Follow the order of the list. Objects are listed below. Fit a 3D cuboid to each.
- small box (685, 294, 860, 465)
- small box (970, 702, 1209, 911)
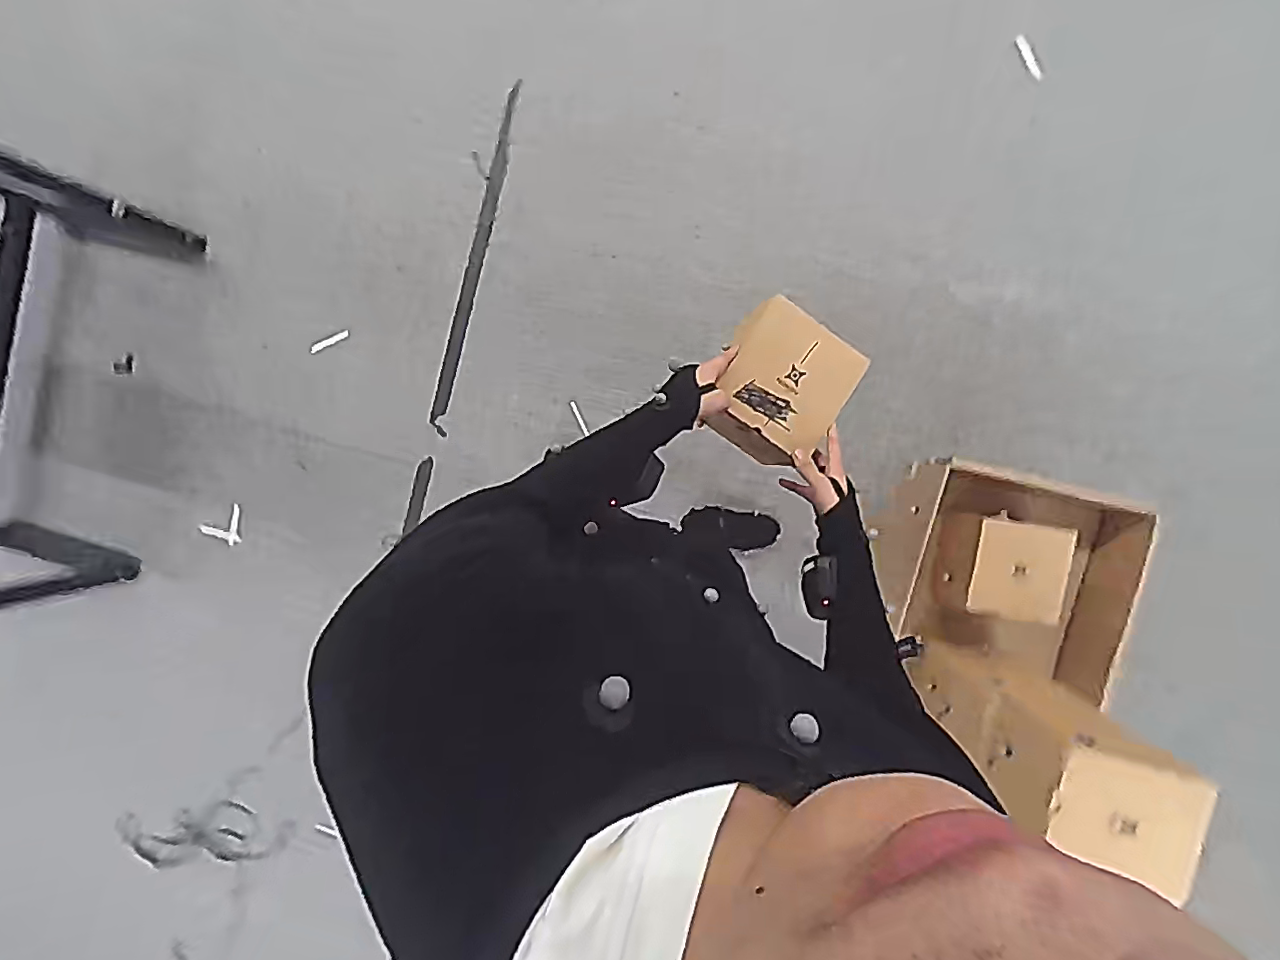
[{"bbox_3d":[0.183,-0.137,0.808,0.168,0.176,0.179,33,88,-7],"label":"small box"},{"bbox_3d":[0.610,0.438,0.759,0.179,0.176,0.168,14,93,7],"label":"small box"}]
